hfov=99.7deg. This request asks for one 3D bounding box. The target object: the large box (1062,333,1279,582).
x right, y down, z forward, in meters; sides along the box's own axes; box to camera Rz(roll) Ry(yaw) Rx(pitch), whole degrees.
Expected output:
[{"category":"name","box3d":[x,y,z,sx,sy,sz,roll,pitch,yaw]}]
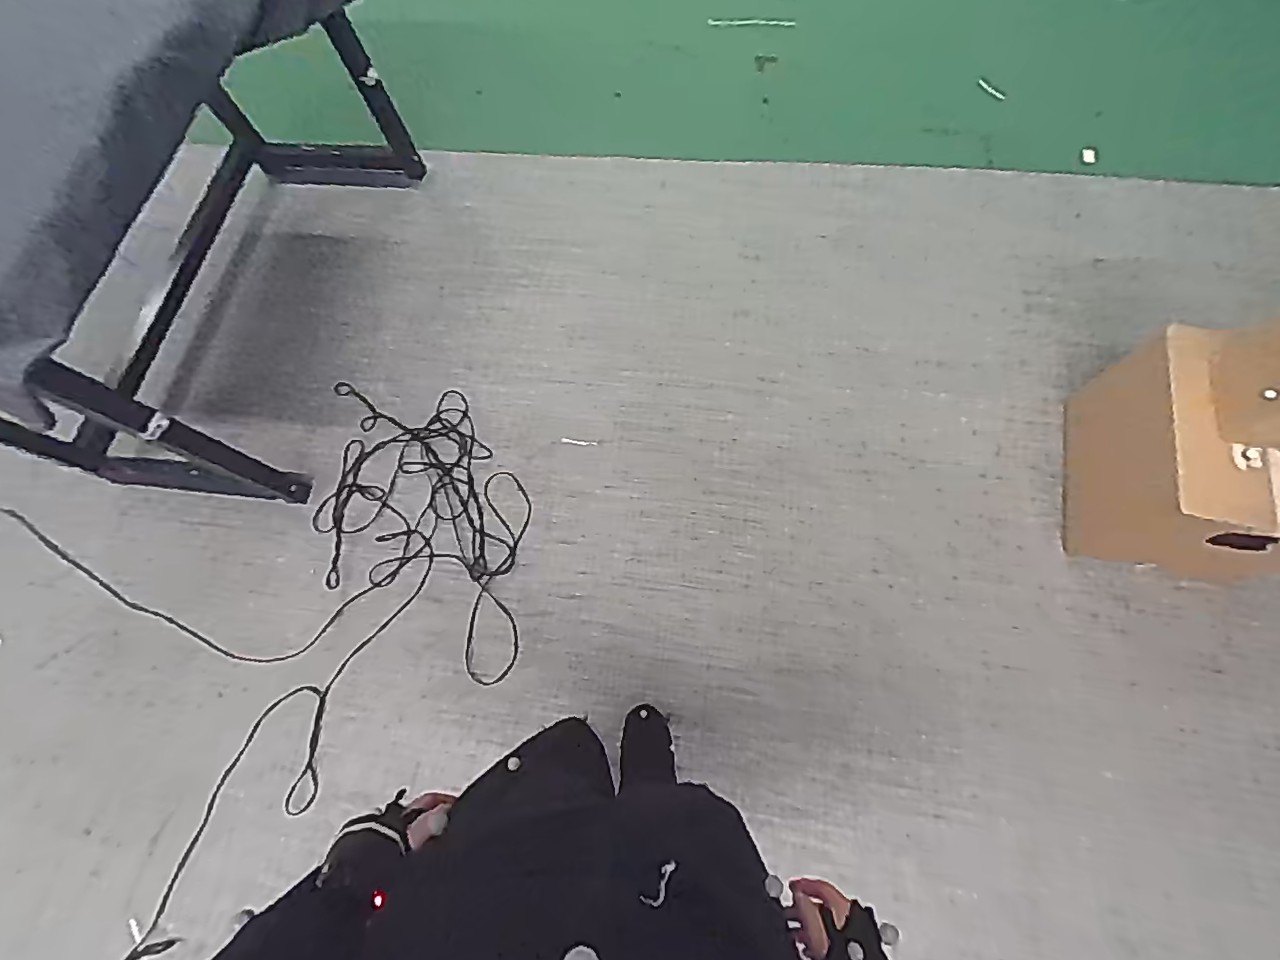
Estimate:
[{"category":"large box","box3d":[1.142,-0.034,1.124,0.320,0.320,0.408,11,72,9]}]
